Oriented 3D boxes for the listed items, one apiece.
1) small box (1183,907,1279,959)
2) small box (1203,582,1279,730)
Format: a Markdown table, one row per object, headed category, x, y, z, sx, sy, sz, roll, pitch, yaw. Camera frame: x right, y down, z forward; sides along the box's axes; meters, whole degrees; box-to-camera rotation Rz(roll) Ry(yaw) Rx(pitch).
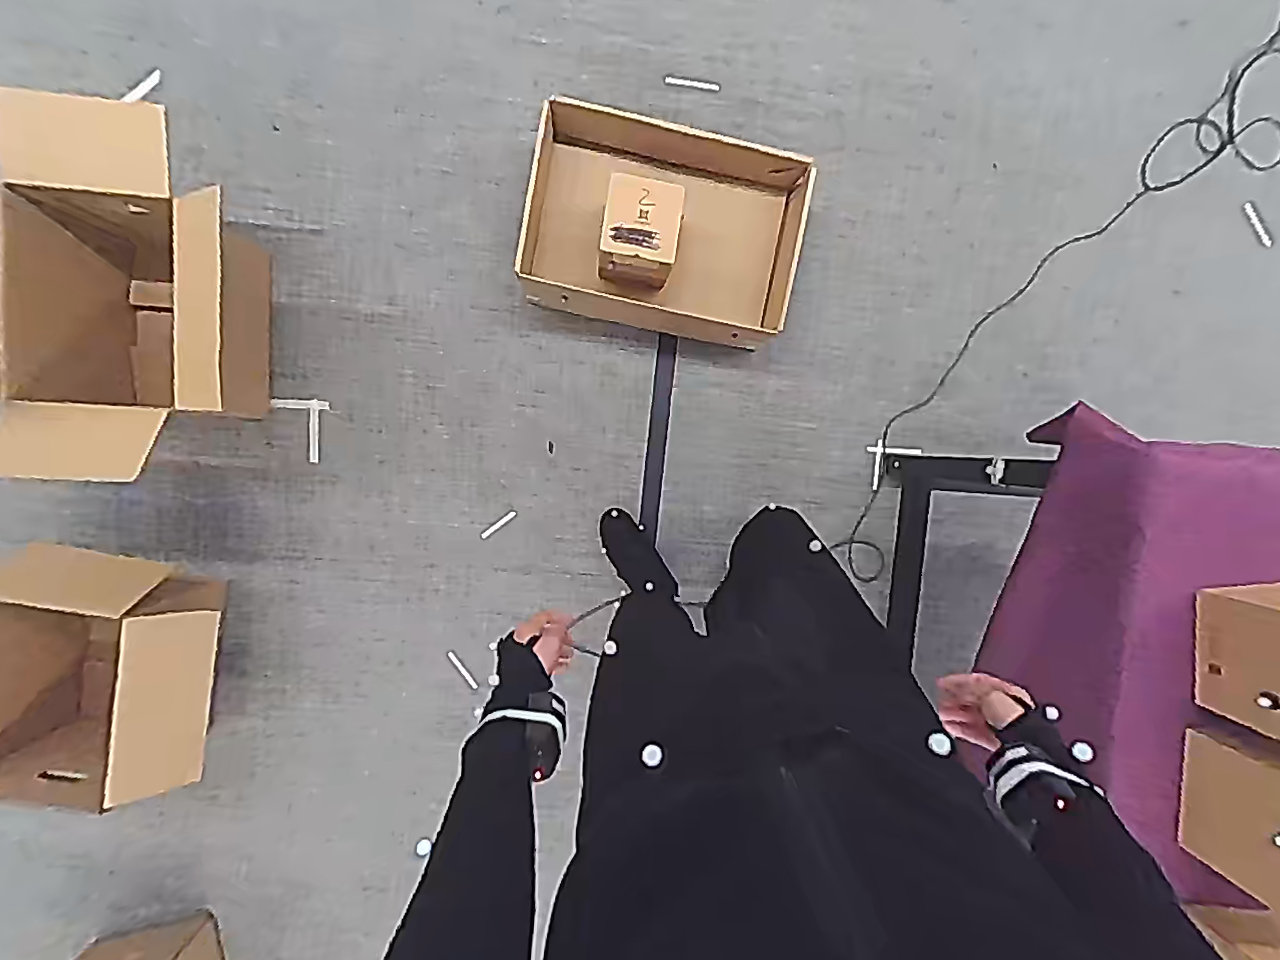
| category | x | y | z | sx | sy | sz | roll | pitch | yaw |
| --- | --- | --- | --- | --- | --- | --- | --- | --- | --- |
| small box | 0.862 | 0.701 | 0.702 | 0.179 | 0.176 | 0.168 | 7 | 93 | -5 |
| small box | 0.866 | 0.228 | 0.673 | 0.179 | 0.176 | 0.168 | -4 | 95 | -4 |
